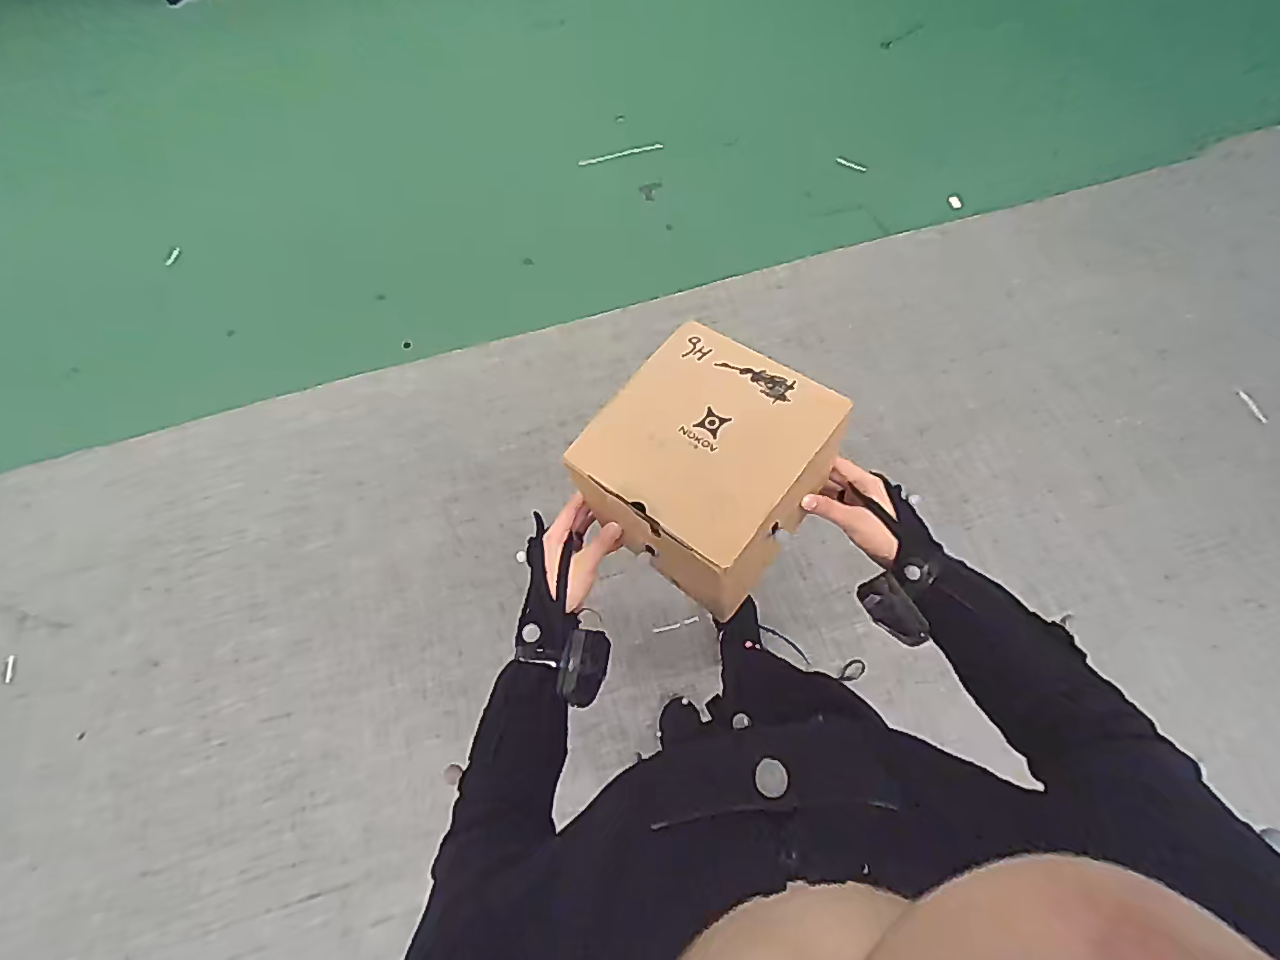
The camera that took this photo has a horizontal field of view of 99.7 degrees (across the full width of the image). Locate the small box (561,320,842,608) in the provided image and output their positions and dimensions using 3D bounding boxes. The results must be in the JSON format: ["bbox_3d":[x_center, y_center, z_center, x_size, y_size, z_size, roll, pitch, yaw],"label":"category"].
[{"bbox_3d":[0.061,-0.006,0.507,0.168,0.176,0.179,34,74,23],"label":"small box"}]
